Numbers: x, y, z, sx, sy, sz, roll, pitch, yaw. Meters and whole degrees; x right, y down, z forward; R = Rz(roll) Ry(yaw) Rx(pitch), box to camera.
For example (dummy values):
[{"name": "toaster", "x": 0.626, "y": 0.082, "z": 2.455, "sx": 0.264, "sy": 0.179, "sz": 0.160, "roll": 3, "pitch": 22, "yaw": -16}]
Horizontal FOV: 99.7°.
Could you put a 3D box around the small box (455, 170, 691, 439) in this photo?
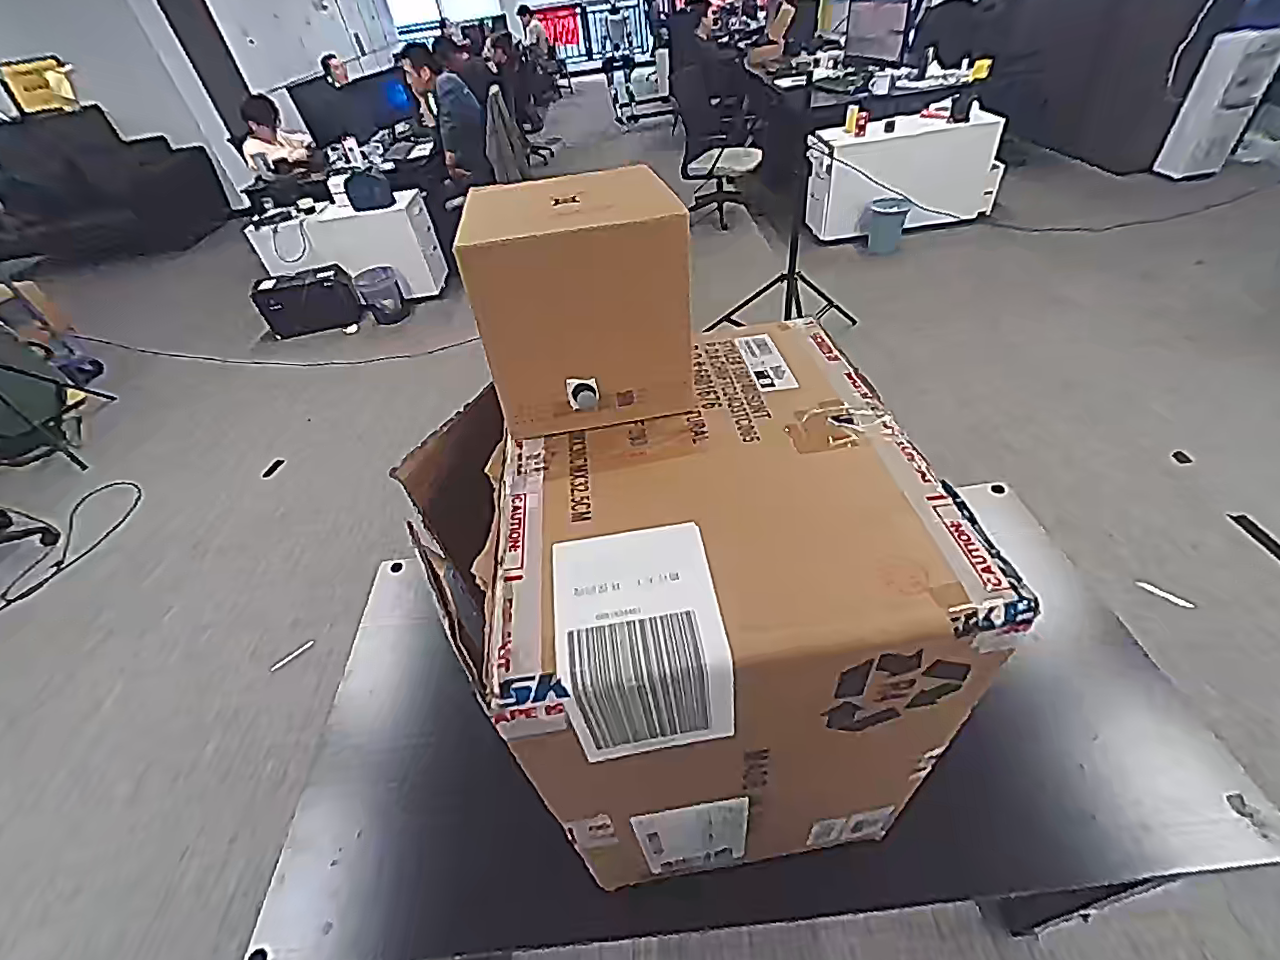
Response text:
[{"name": "small box", "x": -0.054, "y": -0.161, "z": 0.491, "sx": 0.168, "sy": 0.176, "sz": 0.179, "roll": -11, "pitch": 42, "yaw": -4}]
